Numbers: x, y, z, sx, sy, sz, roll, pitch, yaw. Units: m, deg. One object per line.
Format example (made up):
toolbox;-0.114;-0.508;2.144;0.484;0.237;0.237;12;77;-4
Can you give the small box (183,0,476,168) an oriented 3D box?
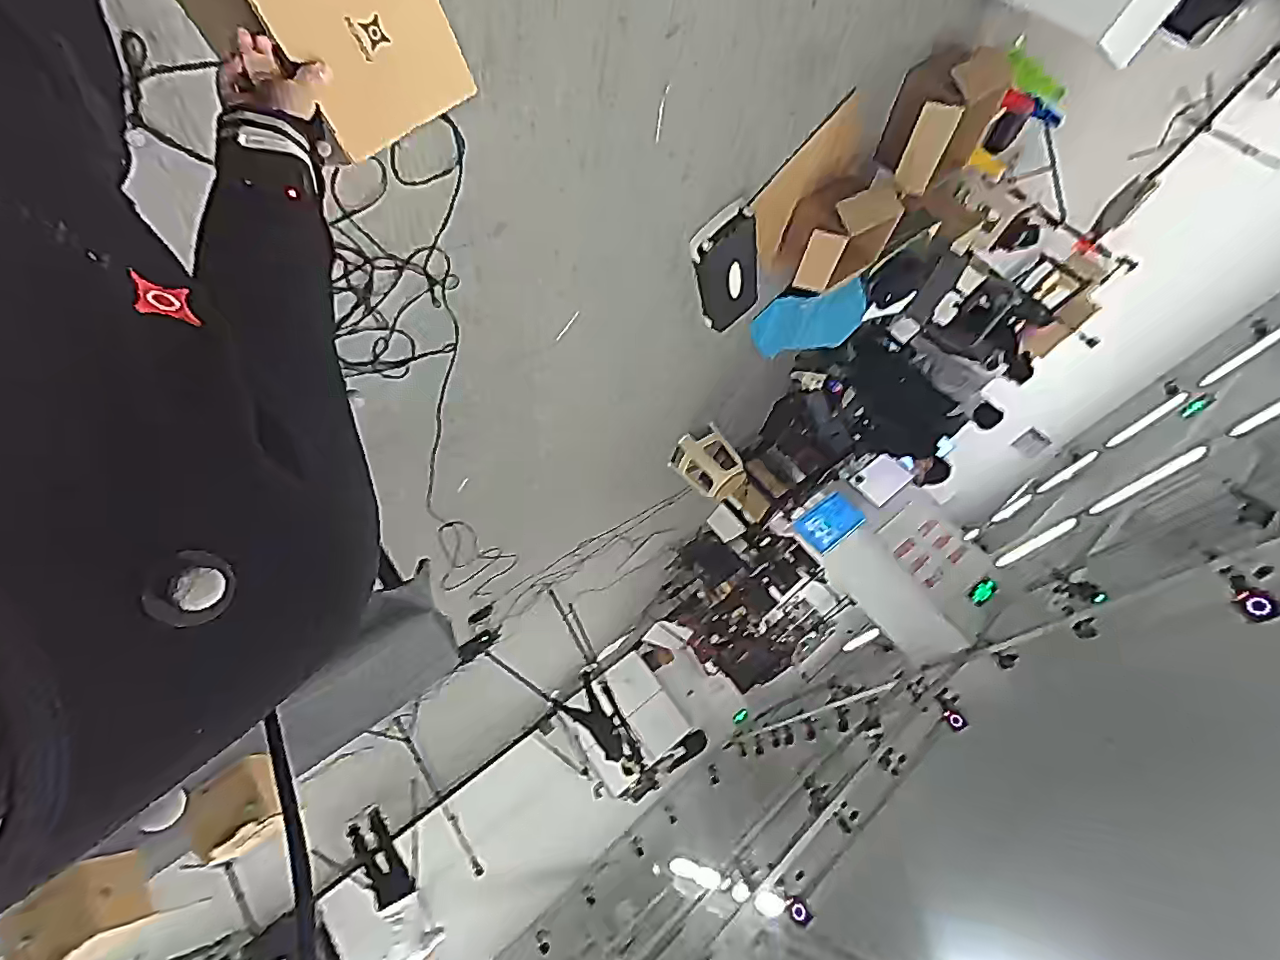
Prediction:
small box;-0.316;-0.453;0.562;0.179;0.176;0.168;-49;141;-21

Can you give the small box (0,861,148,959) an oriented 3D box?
small box;-1.277;1.001;1.210;0.168;0.176;0.179;-33;161;-19
